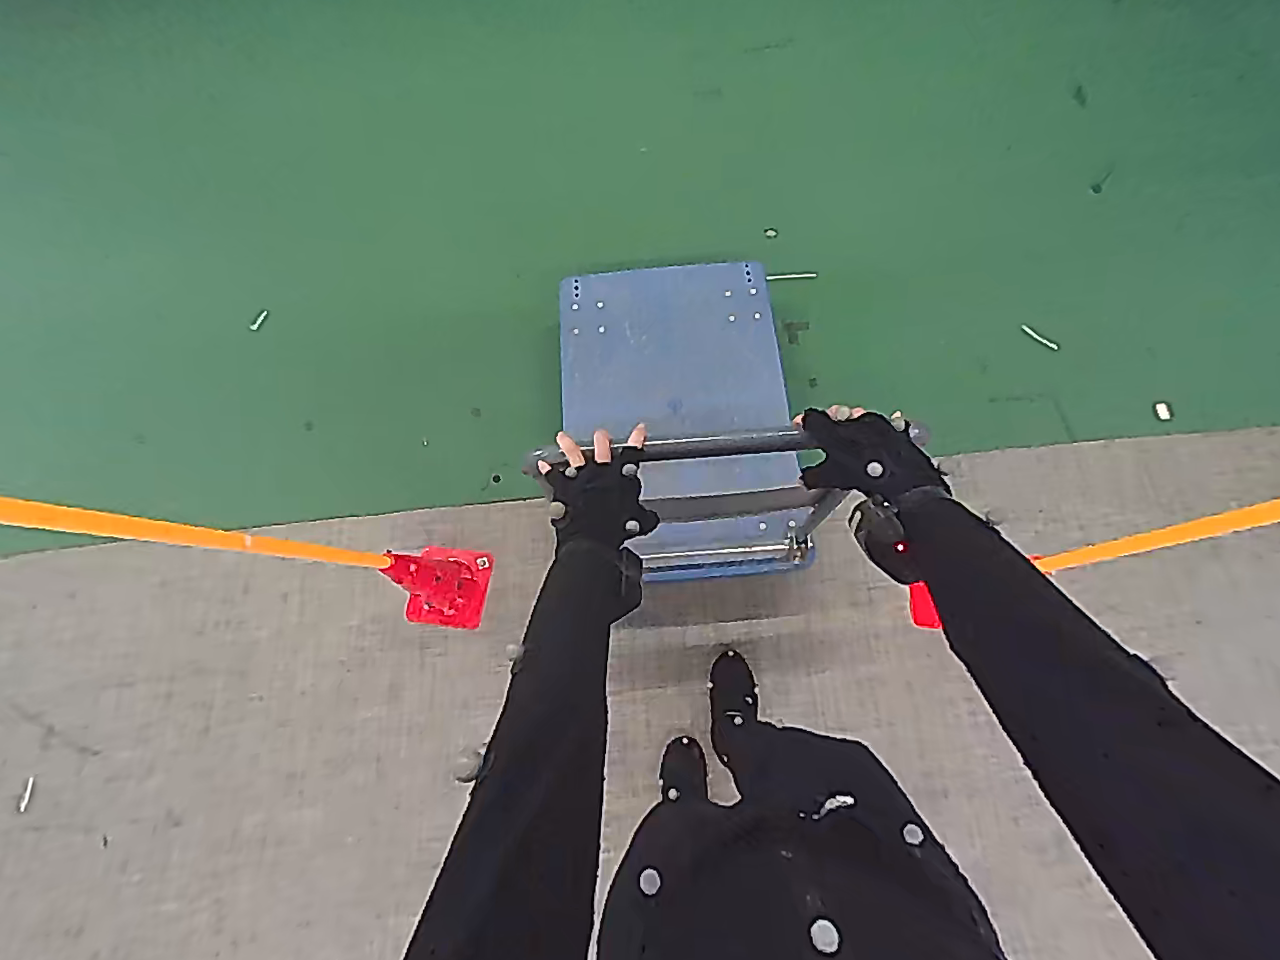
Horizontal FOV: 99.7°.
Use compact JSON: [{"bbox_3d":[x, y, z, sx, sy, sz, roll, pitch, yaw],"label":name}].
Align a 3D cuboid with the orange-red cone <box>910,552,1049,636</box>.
[{"bbox_3d":[0.784,0.232,1.214,0.198,0.360,0.199,5,72,4],"label":"orange-red cone"}]
